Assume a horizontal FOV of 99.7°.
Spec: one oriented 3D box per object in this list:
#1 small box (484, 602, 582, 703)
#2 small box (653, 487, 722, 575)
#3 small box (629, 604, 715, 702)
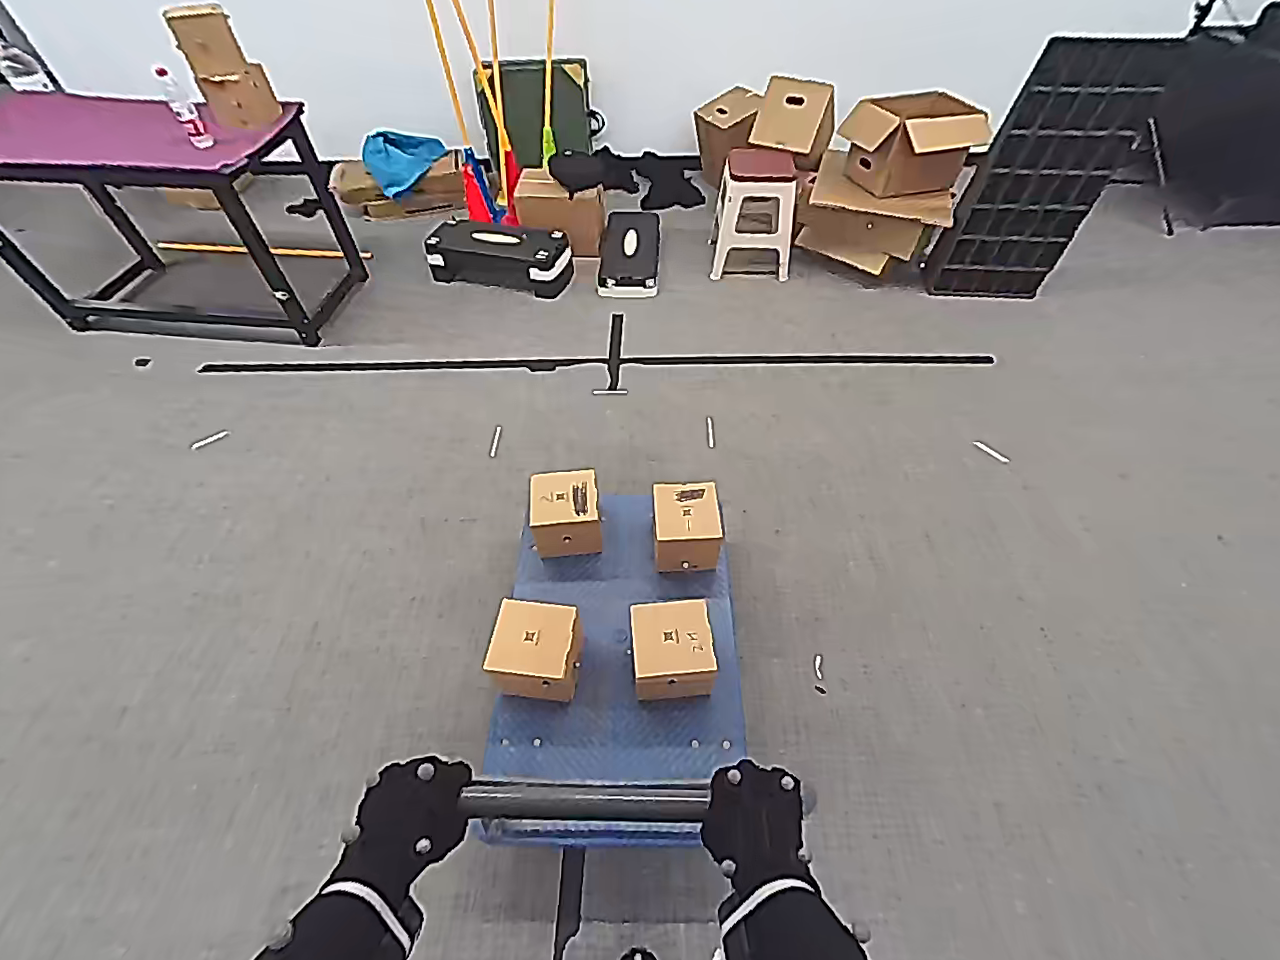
[{"bbox_3d":[-0.238,0.401,1.248,0.179,0.176,0.168,6,52,3],"label":"small box"},{"bbox_3d":[0.121,0.137,1.450,0.168,0.176,0.179,-2,53,-1],"label":"small box"},{"bbox_3d":[0.069,0.401,1.245,0.179,0.176,0.168,-4,52,-2],"label":"small box"}]
